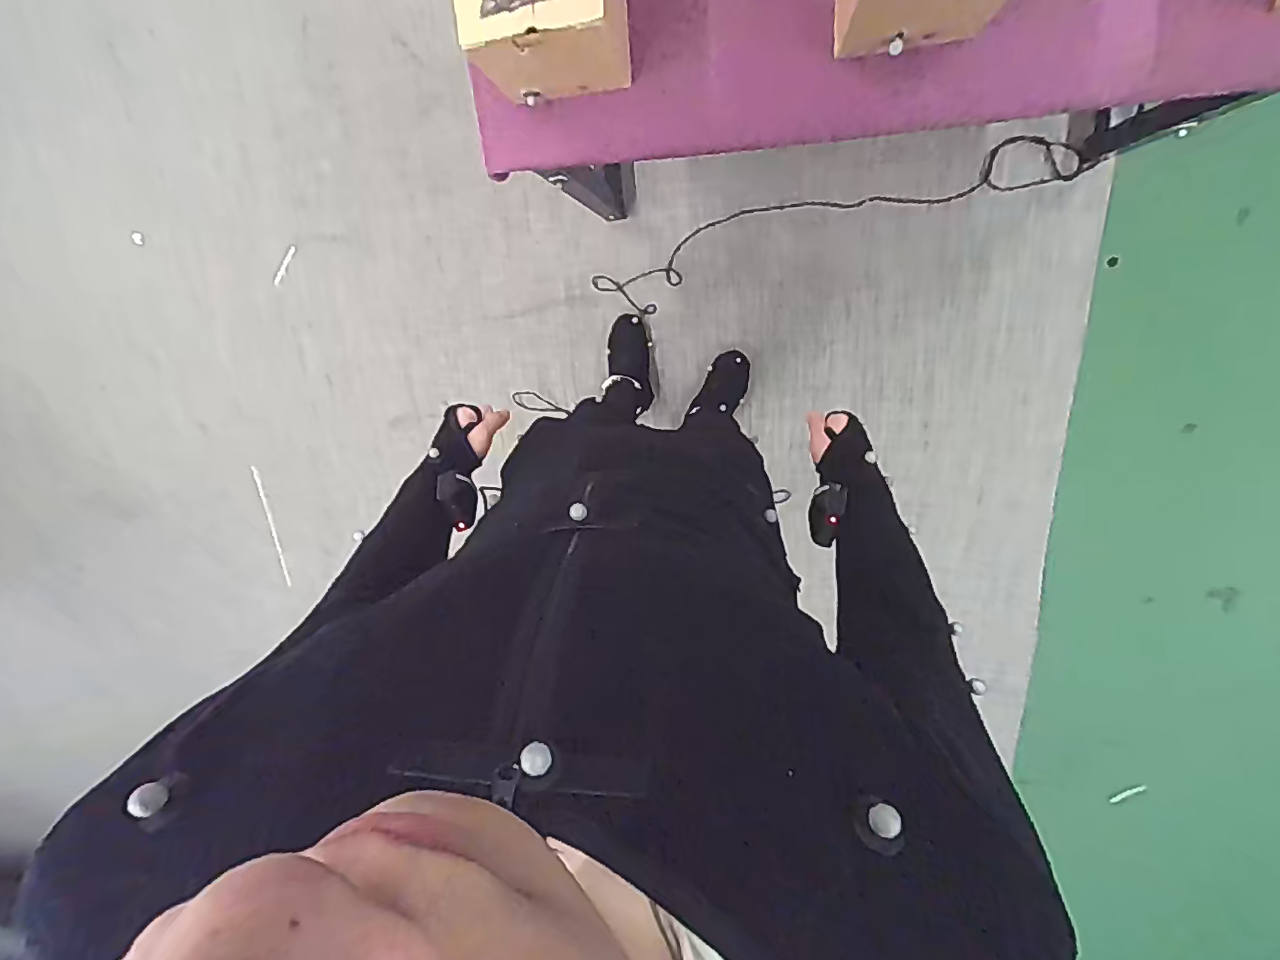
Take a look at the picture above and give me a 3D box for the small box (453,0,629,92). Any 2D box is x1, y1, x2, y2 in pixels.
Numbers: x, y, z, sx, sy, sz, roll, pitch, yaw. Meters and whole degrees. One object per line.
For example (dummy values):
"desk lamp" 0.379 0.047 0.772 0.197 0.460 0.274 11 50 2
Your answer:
"small box" -0.112 -0.589 0.637 0.168 0.176 0.179 -1 106 11

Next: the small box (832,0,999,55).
"small box" 0.298 -0.589 0.560 0.168 0.176 0.179 0 107 12
